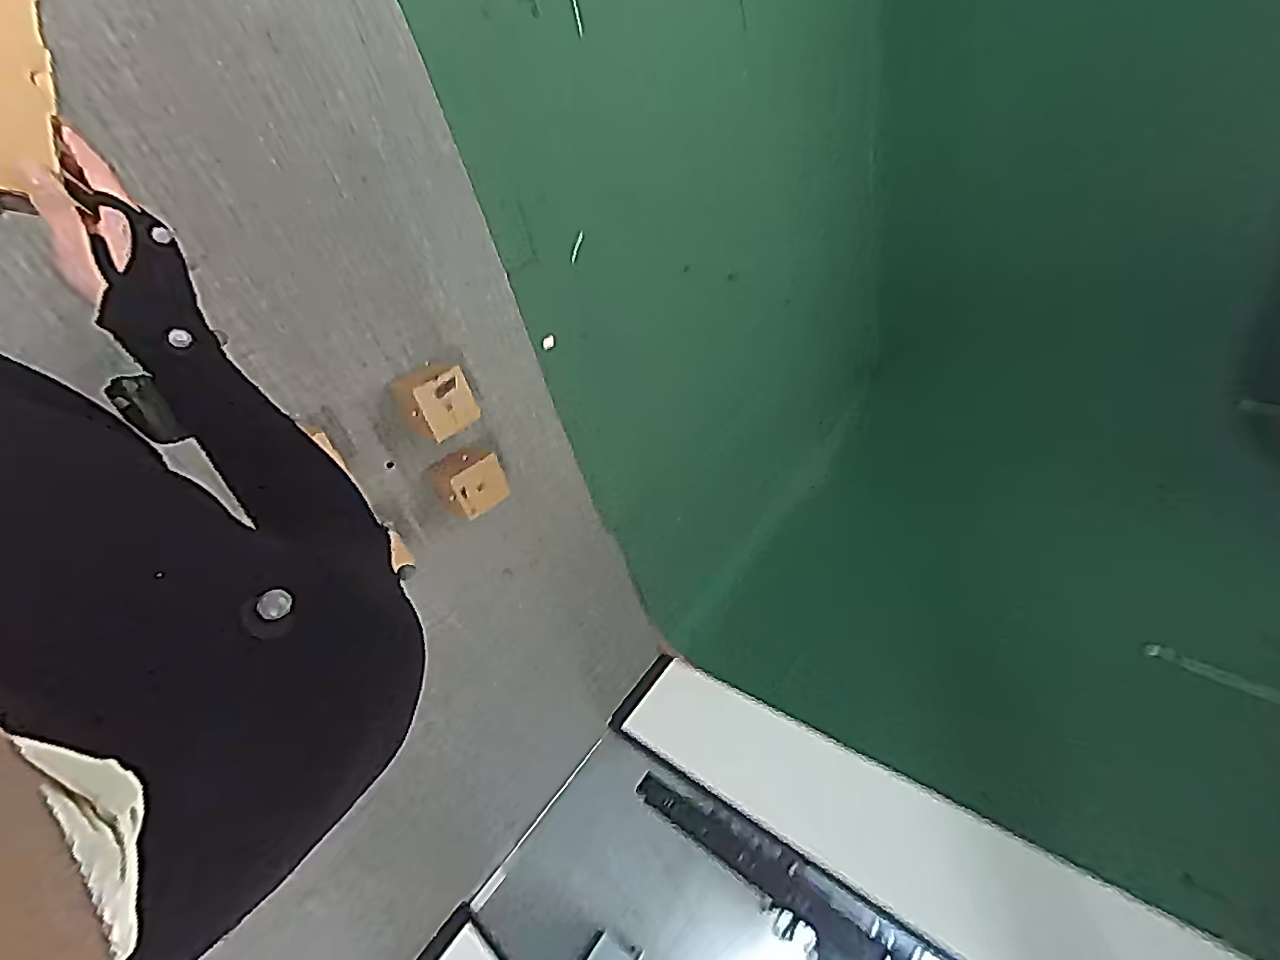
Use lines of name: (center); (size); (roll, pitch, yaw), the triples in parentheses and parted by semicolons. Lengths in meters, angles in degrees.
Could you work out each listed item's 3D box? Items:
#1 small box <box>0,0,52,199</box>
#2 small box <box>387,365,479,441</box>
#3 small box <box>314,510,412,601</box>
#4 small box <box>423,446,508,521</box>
small box: (-0.555, -0.313, 0.382); (0.179, 0.176, 0.168); (-10, 111, -47)
small box: (-0.630, -0.240, 1.637); (0.168, 0.176, 0.179); (-41, 131, -33)
small box: (-0.812, 0.214, 1.574); (0.179, 0.176, 0.168); (-42, 132, -33)
small box: (-0.576, 0.005, 1.781); (0.179, 0.176, 0.168); (-40, 129, -35)
